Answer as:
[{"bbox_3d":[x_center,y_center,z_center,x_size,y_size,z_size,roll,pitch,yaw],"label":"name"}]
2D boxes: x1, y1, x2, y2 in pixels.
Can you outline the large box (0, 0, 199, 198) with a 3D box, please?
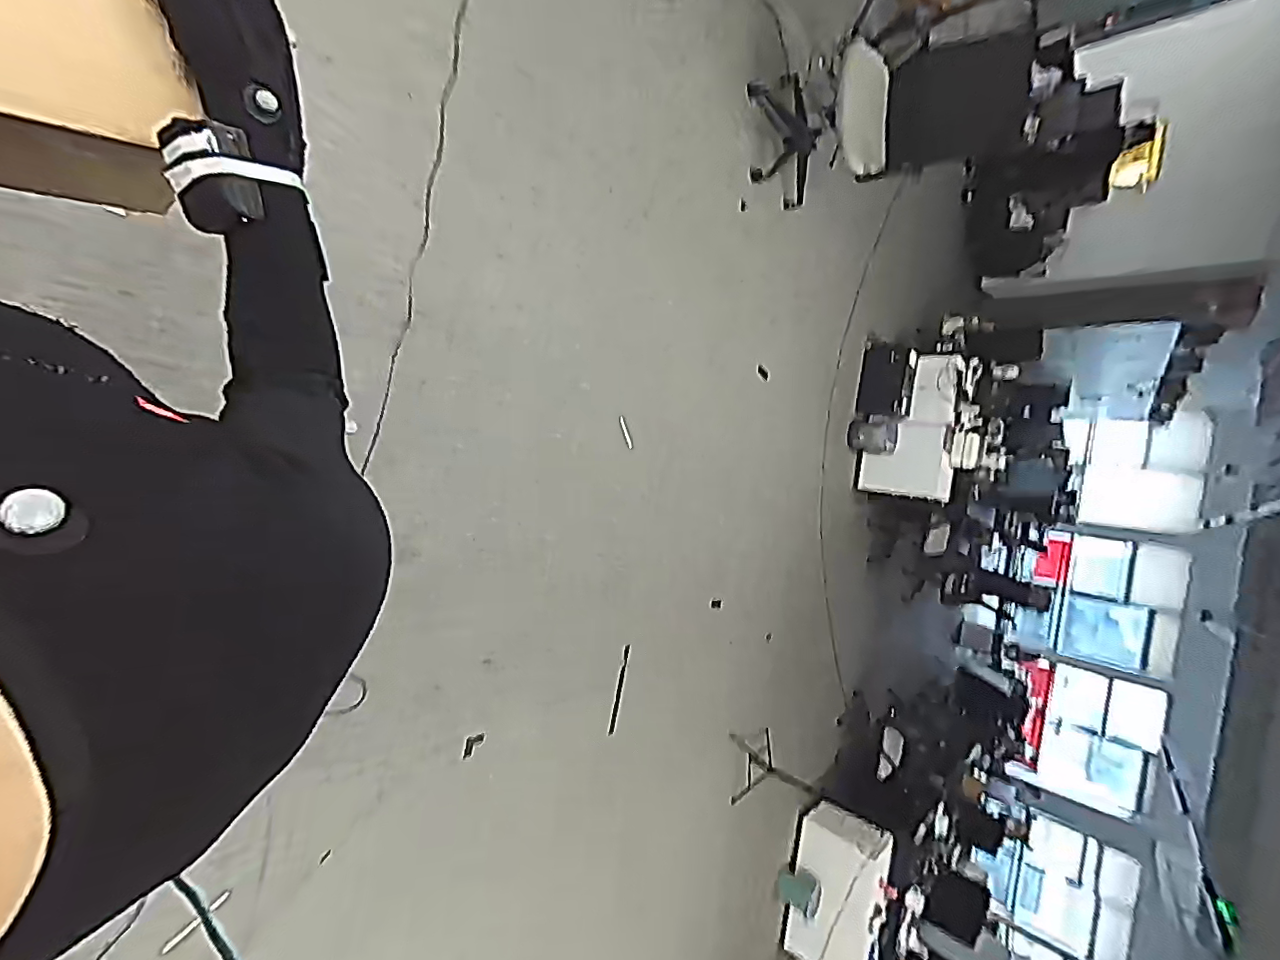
[{"bbox_3d":[-0.576,-0.405,0.338,0.408,0.320,0.320,-11,110,-45],"label":"large box"}]
